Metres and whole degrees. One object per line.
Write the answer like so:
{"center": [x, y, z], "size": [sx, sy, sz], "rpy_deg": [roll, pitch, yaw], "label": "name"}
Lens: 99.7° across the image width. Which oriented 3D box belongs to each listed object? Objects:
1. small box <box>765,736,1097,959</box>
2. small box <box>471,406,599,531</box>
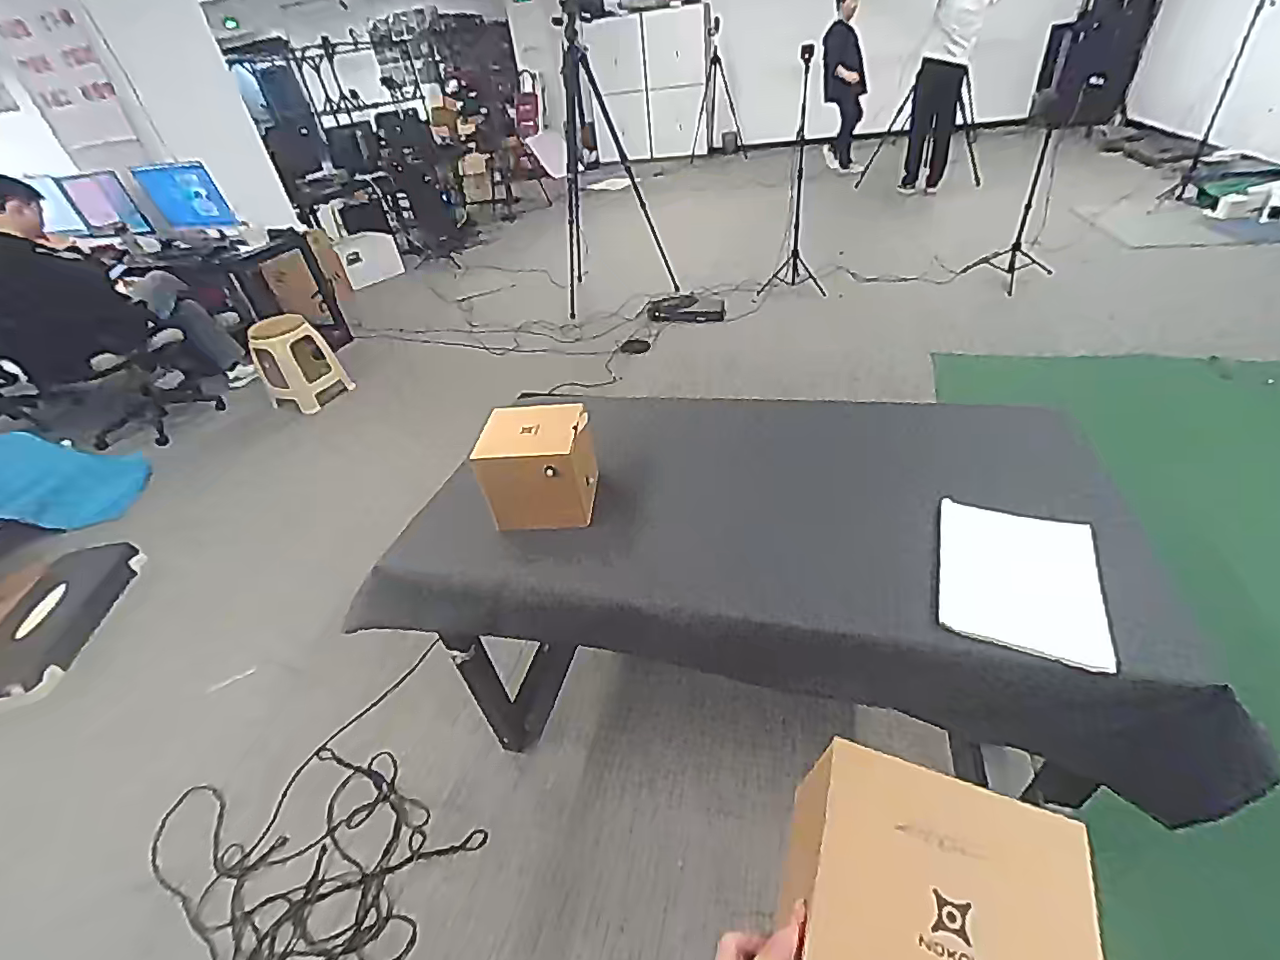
{"center": [0.191, 0.325, 0.391], "size": [0.168, 0.176, 0.179], "rpy_deg": [14, 50, 15], "label": "small box"}
{"center": [-0.182, -0.019, 0.997], "size": [0.179, 0.176, 0.168], "rpy_deg": [-3, 37, 6], "label": "small box"}
